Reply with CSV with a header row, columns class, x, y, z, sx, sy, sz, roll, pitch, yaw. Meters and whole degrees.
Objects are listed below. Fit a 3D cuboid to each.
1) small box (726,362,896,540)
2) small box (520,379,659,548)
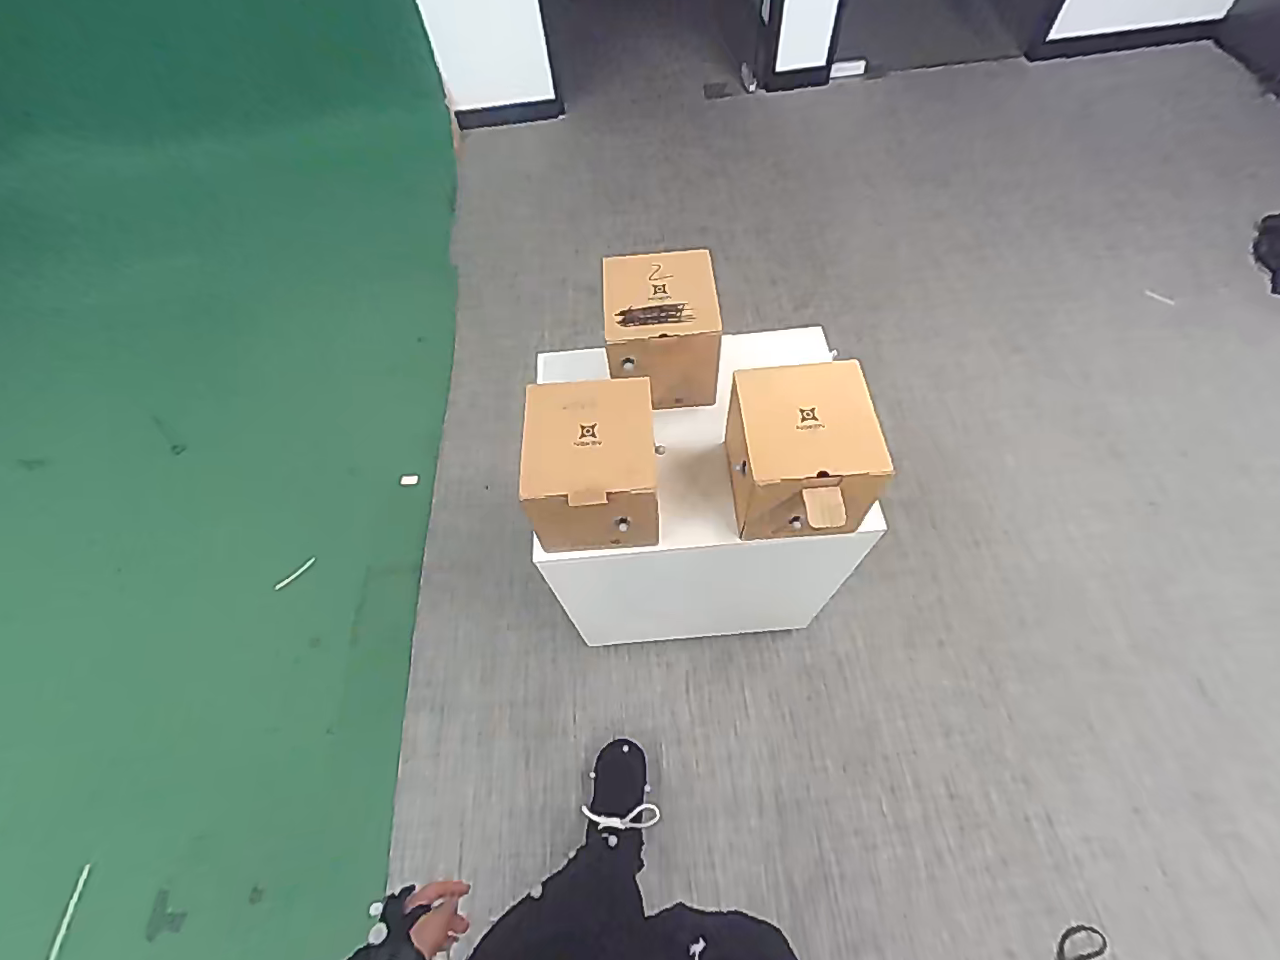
class,x,y,z,sx,sy,sz,roll,pitch,yaw
small box,0.214,-0.035,0.735,0.168,0.176,0.179,-5,60,1
small box,-0.061,-0.014,0.742,0.168,0.176,0.179,-4,58,0
